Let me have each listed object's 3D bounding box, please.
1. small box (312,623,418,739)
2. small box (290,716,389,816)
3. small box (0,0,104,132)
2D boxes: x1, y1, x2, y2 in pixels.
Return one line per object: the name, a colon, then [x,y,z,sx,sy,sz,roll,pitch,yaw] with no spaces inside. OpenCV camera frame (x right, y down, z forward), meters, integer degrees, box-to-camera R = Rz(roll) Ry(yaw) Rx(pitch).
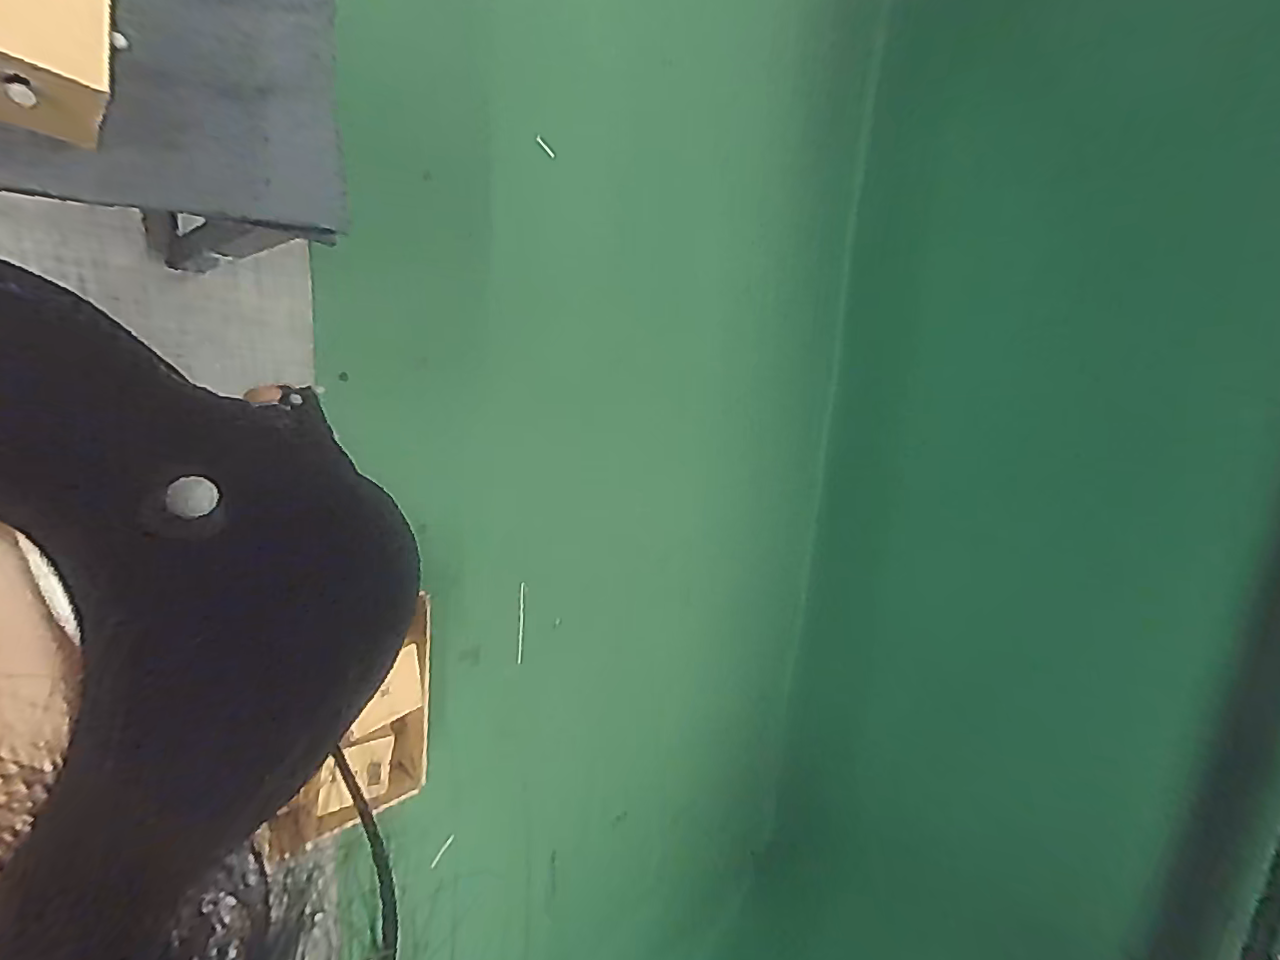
small box: [-0.648,0.457,1.273,0.168,0.176,0.179,-17,115,-44]
small box: [-0.797,0.736,1.434,0.179,0.176,0.168,5,96,-48]
small box: [-0.514,-0.383,0.386,0.179,0.176,0.168,0,98,-48]
